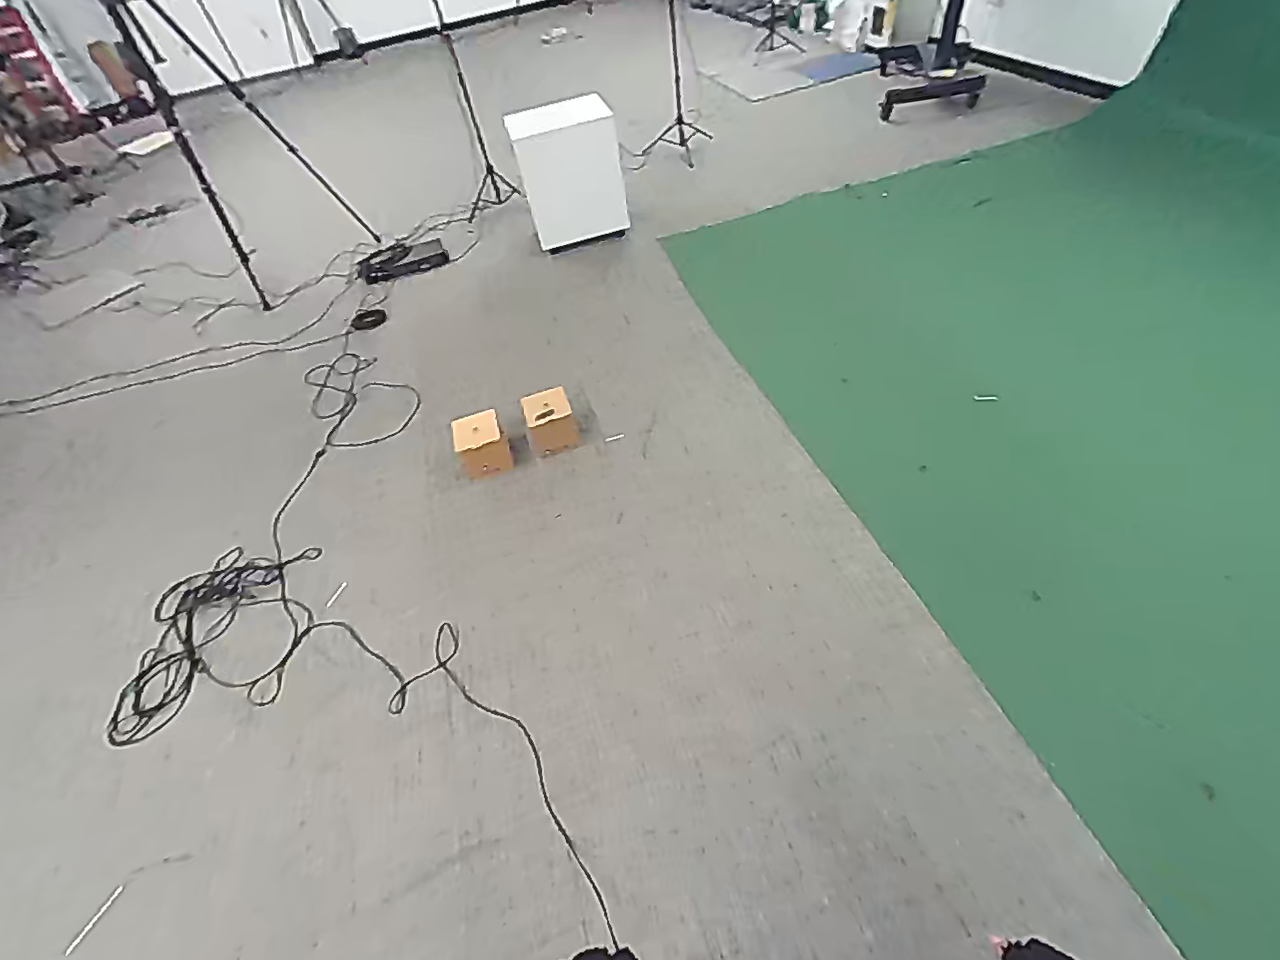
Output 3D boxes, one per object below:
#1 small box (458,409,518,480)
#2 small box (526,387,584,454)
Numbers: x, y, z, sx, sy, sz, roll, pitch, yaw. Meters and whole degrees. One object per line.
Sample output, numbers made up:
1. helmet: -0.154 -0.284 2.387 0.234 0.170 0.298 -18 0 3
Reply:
1. small box: -0.573 -0.132 2.046 0.168 0.176 0.179 -19 50 -5
2. small box: -0.324 -0.222 2.073 0.168 0.176 0.179 -19 49 -6
